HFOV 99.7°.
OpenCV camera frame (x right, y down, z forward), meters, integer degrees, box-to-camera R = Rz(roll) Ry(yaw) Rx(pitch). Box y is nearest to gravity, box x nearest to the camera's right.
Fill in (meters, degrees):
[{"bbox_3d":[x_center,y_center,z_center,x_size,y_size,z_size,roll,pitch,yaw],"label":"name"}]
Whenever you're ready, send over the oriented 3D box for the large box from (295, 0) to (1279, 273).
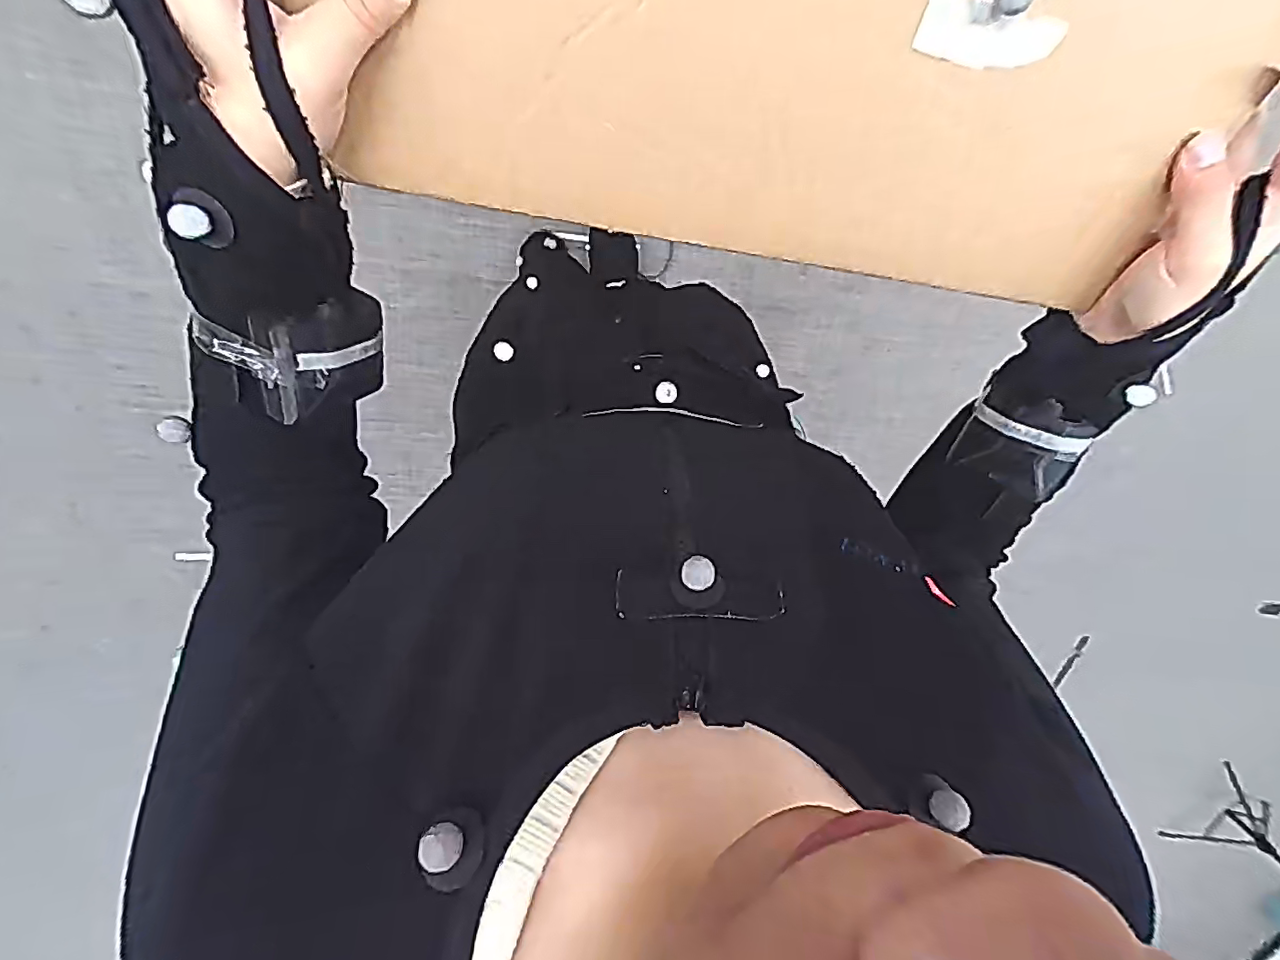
[{"bbox_3d":[0.067,-0.343,0.285,0.408,0.320,0.320,5,132,-10],"label":"large box"}]
